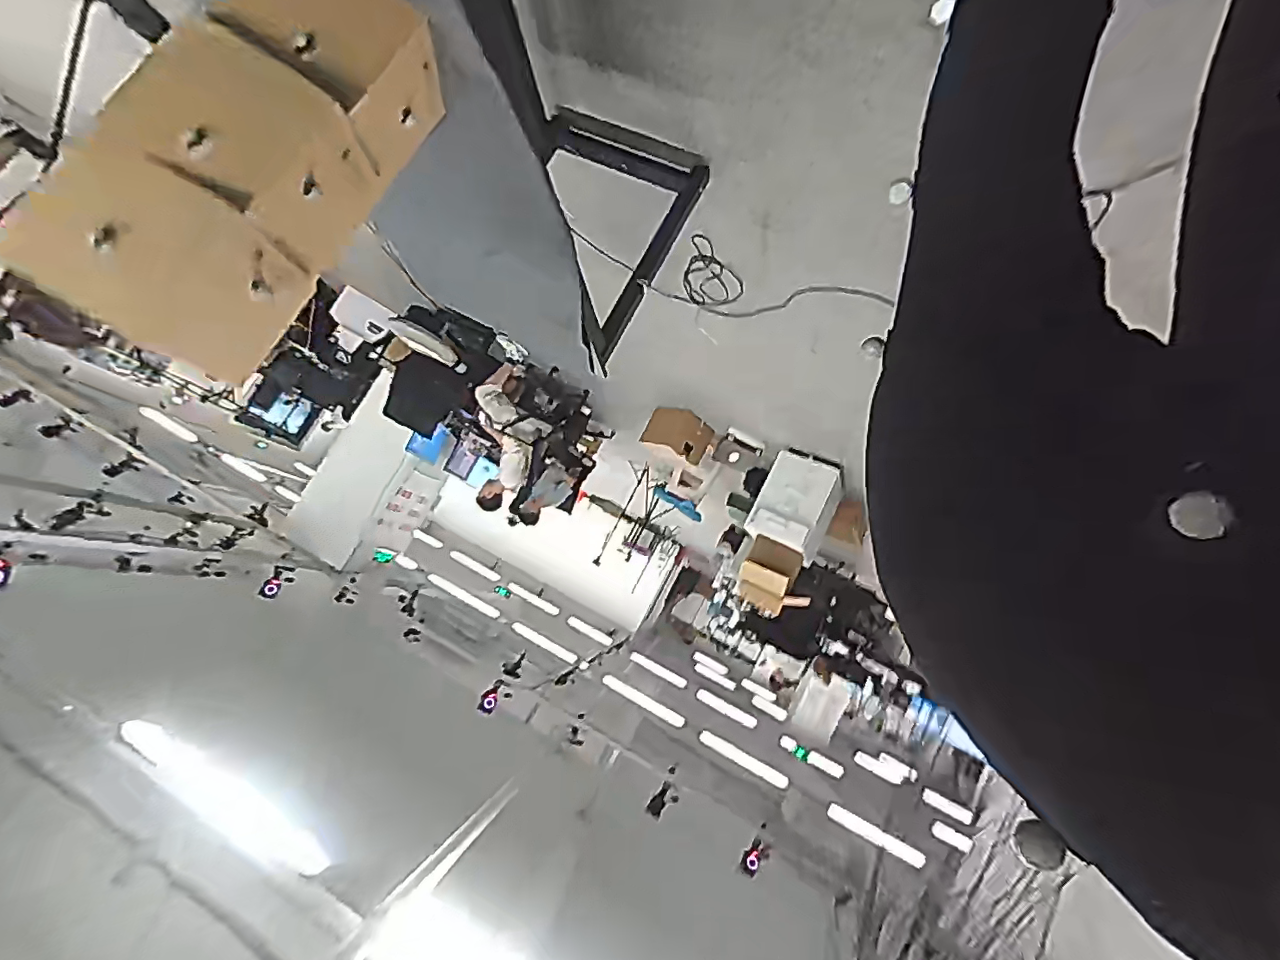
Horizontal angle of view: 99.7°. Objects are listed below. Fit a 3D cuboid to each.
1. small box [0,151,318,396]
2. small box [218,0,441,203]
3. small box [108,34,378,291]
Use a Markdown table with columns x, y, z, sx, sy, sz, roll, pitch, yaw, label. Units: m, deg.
| x | y | z | sx | sy | sz | roll | pitch | yaw | label |
| --- | --- | --- | --- | --- | --- | --- | --- | --- | --- |
| -0.522 | -0.230 | 0.617 | 0.179 | 0.176 | 0.168 | 29 | 171 | 1 | small box |
| -0.377 | -0.513 | 0.697 | 0.179 | 0.176 | 0.168 | 32 | 170 | -9 | small box |
| -0.447 | -0.372 | 0.652 | 0.179 | 0.176 | 0.168 | 31 | 170 | -4 | small box |
